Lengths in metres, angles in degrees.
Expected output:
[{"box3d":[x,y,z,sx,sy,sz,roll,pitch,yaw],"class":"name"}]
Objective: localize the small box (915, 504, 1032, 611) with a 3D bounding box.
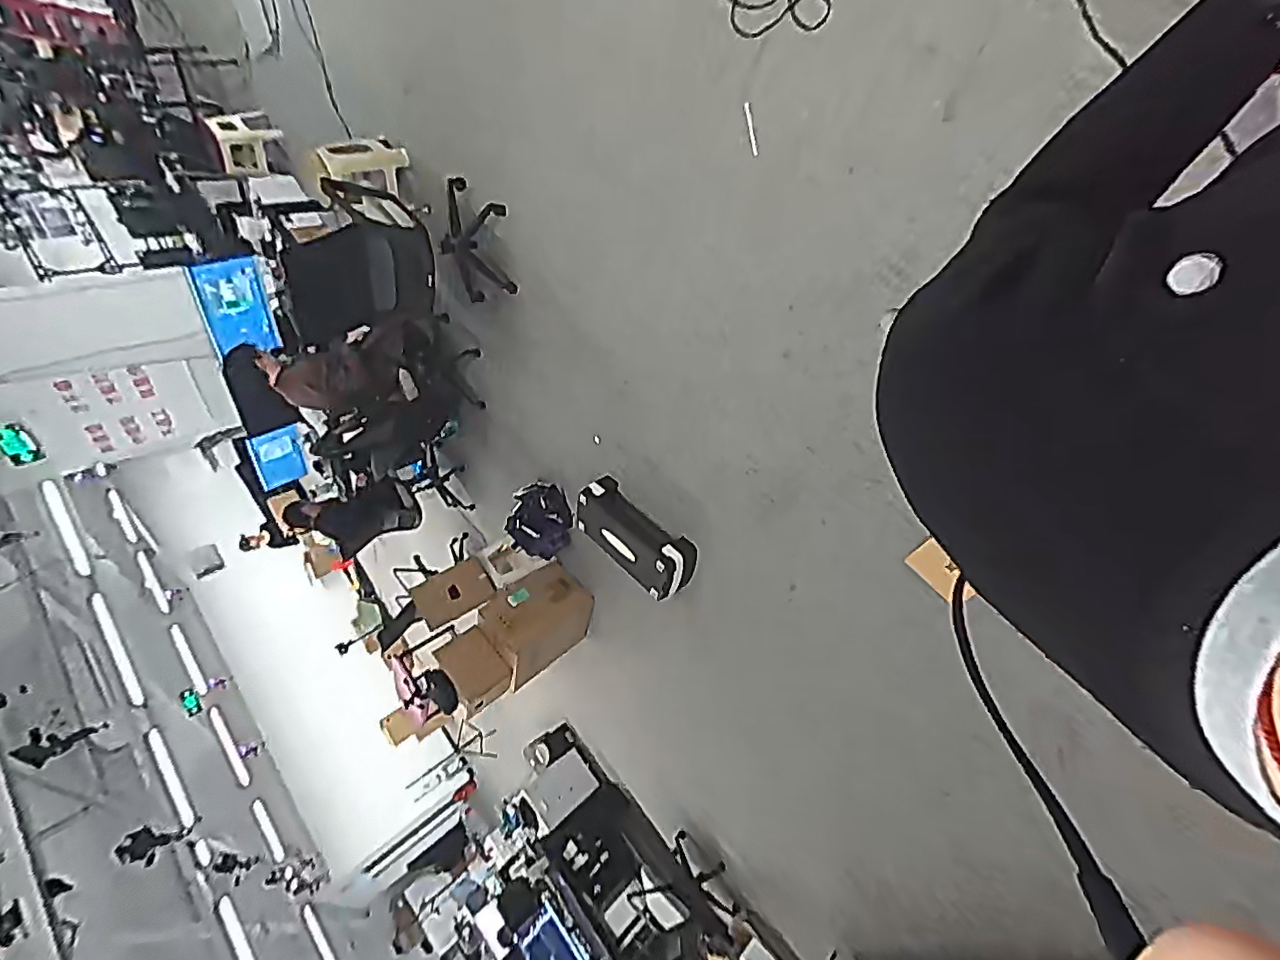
[{"box3d":[0.848,0.191,1.369,0.168,0.176,0.179,47,143,21],"class":"small box"}]
